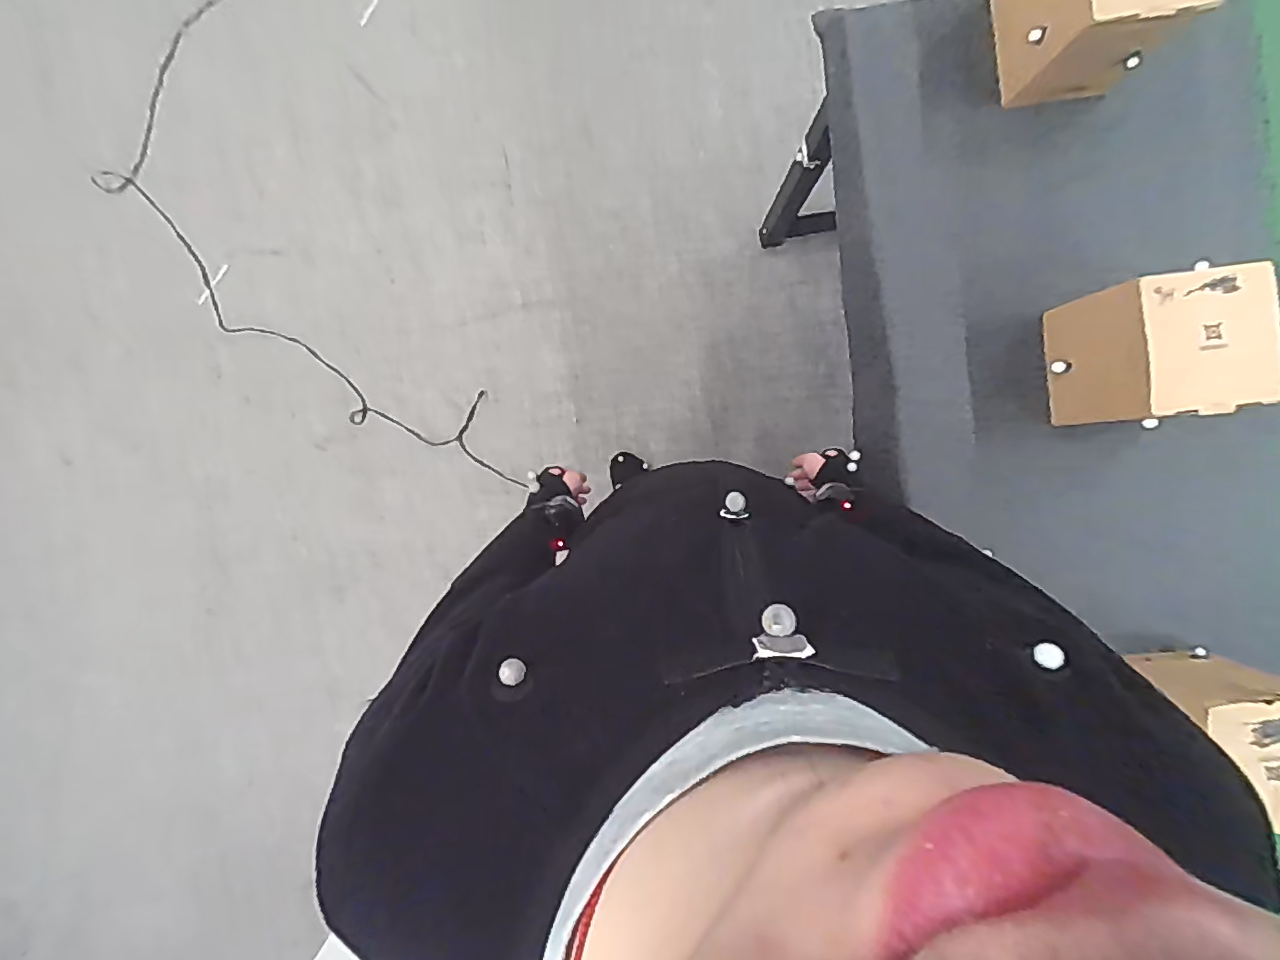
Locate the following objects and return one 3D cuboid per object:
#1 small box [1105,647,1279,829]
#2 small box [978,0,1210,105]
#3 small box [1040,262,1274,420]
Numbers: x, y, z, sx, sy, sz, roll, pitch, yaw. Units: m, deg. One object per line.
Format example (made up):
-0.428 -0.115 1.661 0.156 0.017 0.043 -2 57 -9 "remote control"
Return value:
0.809 0.348 0.767 0.168 0.176 0.179 -6 92 -1 "small box"
0.603 -0.651 0.740 0.168 0.176 0.179 -10 91 -3 "small box"
0.703 -0.180 0.754 0.168 0.176 0.179 -8 92 -2 "small box"
